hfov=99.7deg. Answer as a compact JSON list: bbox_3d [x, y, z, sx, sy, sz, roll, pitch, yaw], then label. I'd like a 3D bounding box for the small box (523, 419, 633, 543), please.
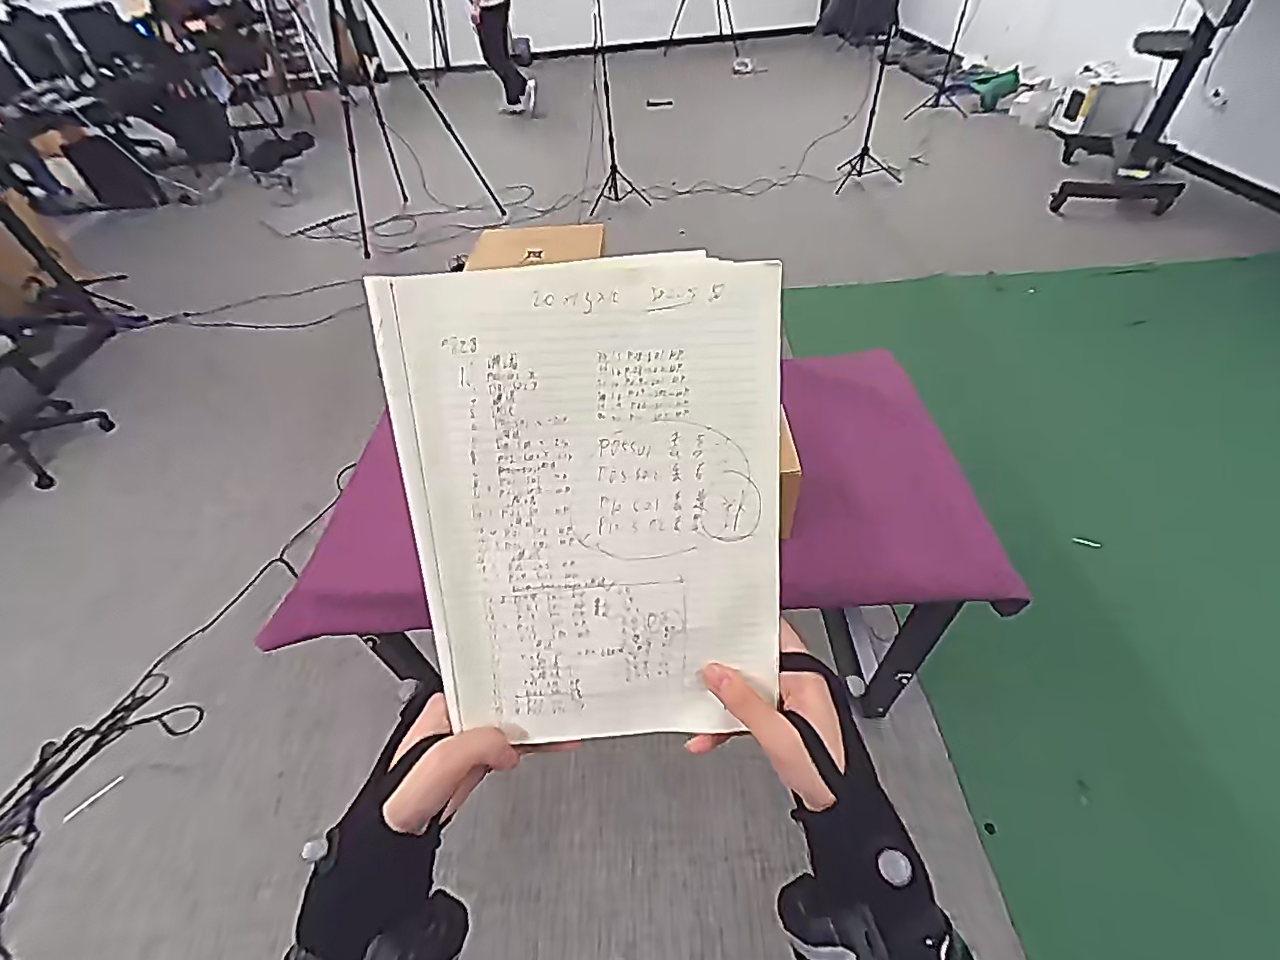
[{"bbox_3d":[-0.100,0.002,0.975,0.168,0.176,0.179,-2,47,3],"label":"small box"}]

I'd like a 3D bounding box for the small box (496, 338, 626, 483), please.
[{"bbox_3d":[-0.111,-0.106,0.852,0.168,0.176,0.179,-2,46,3],"label":"small box"}]

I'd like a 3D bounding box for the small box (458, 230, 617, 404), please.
[{"bbox_3d":[-0.121,-0.215,0.730,0.168,0.176,0.179,-1,46,3],"label":"small box"}]
